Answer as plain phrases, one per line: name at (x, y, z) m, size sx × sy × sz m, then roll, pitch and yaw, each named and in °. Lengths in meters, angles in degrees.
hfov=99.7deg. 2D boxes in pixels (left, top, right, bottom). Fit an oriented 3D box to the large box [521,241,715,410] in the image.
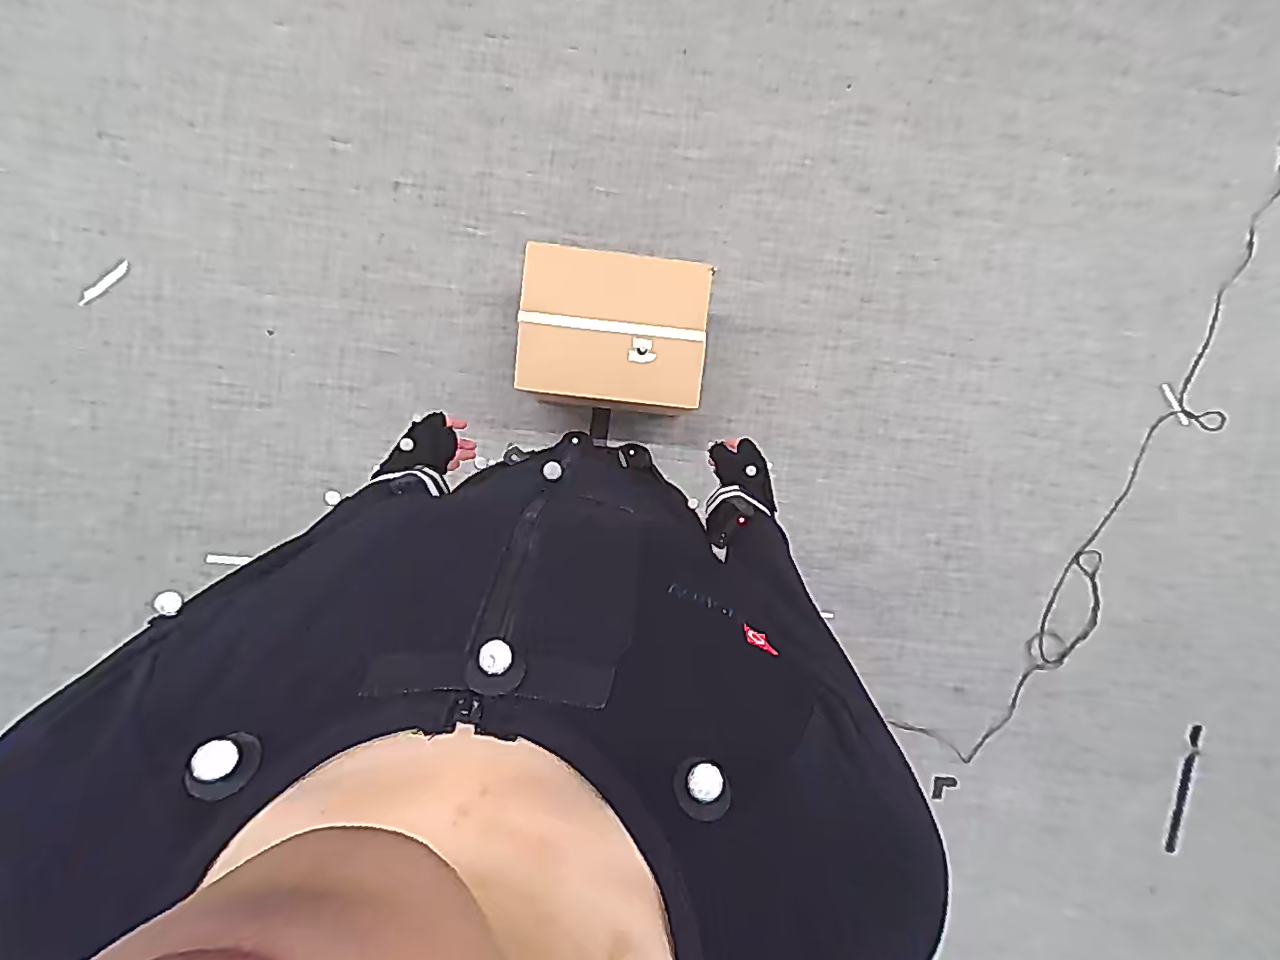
large box at (-0.058, -0.348, 1.310) m, size 0.408 × 0.320 × 0.320 m, roll 6°, pitch 94°, yaw -4°
